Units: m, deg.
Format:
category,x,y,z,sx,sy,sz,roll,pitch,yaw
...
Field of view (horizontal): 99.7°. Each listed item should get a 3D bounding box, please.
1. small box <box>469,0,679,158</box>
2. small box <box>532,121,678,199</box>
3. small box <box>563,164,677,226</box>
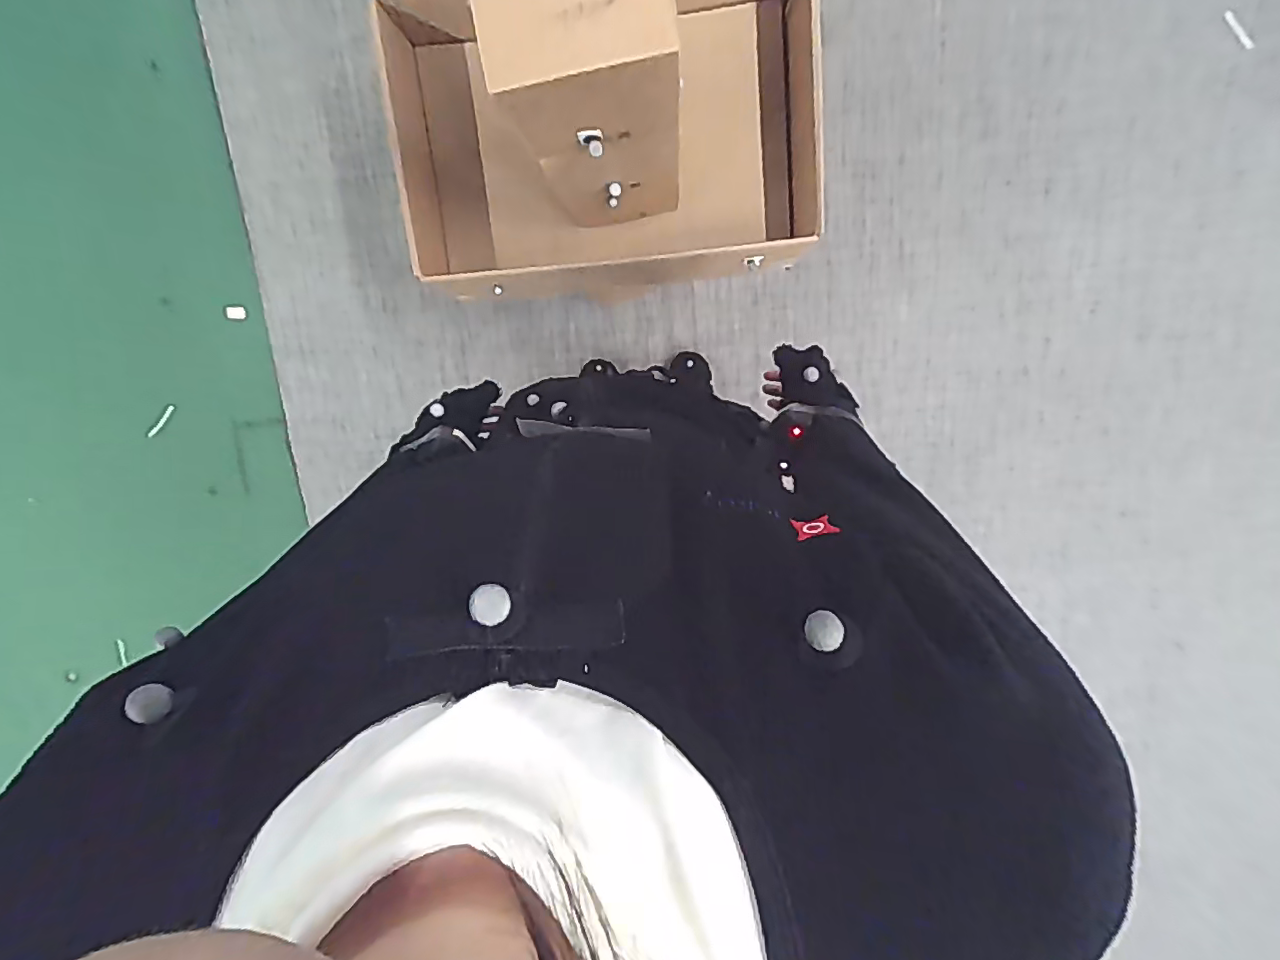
category,x,y,z,sx,sy,sz,roll,pitch,yaw
small box,-0.058,-0.439,0.508,0.168,0.176,0.179,-9,102,7
small box,-0.048,-0.474,0.665,0.168,0.176,0.179,-9,102,5
small box,-0.037,-0.514,0.824,0.168,0.176,0.179,-9,101,7
